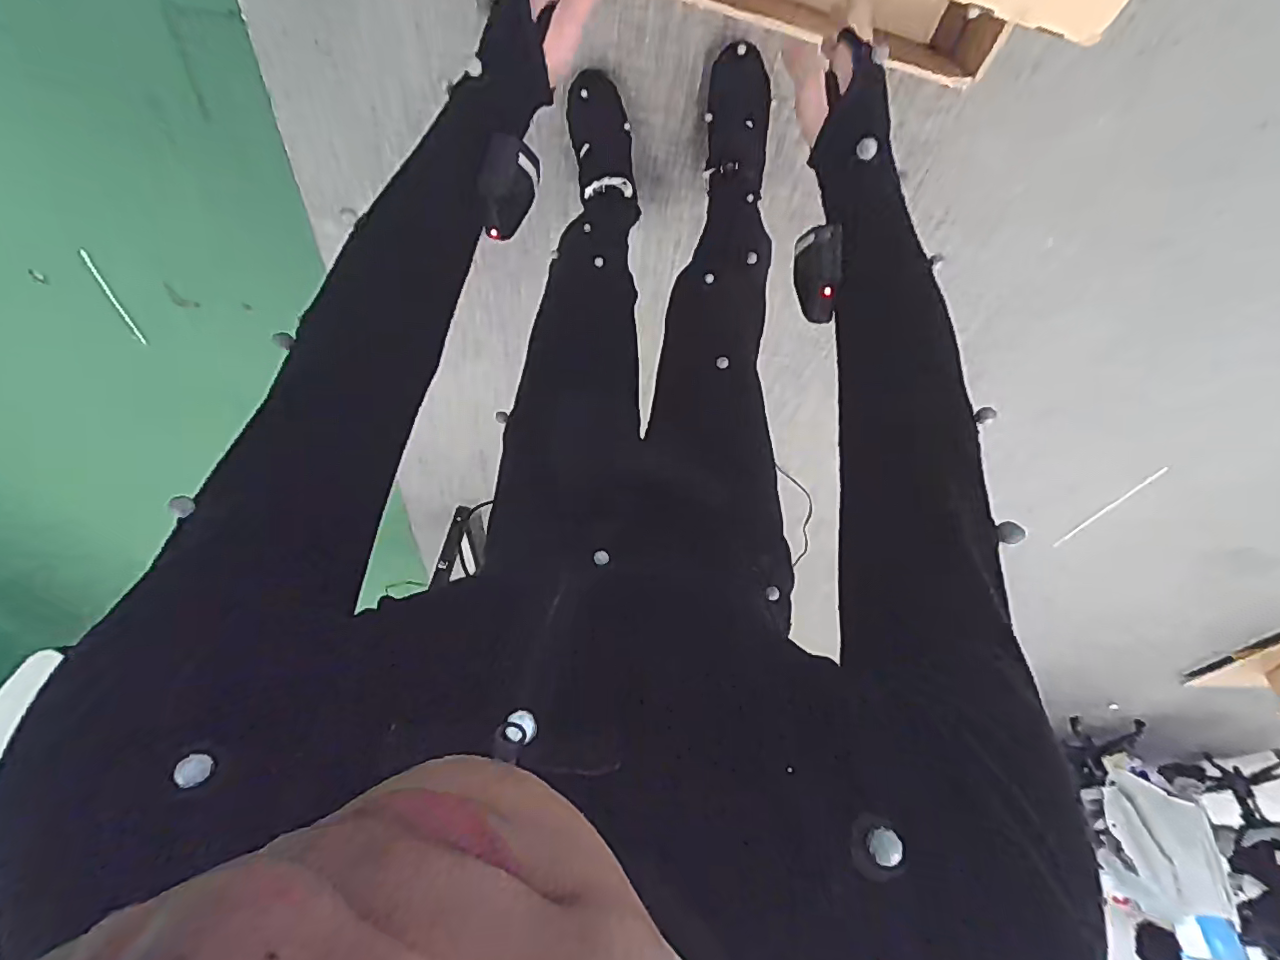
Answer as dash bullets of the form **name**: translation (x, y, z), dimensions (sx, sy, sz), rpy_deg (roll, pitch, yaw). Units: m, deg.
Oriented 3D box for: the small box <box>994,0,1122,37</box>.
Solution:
- **small box**: translation (0.372, -0.542, 0.477), dimensions (0.168, 0.176, 0.179), rpy_deg (13, 141, -6)
